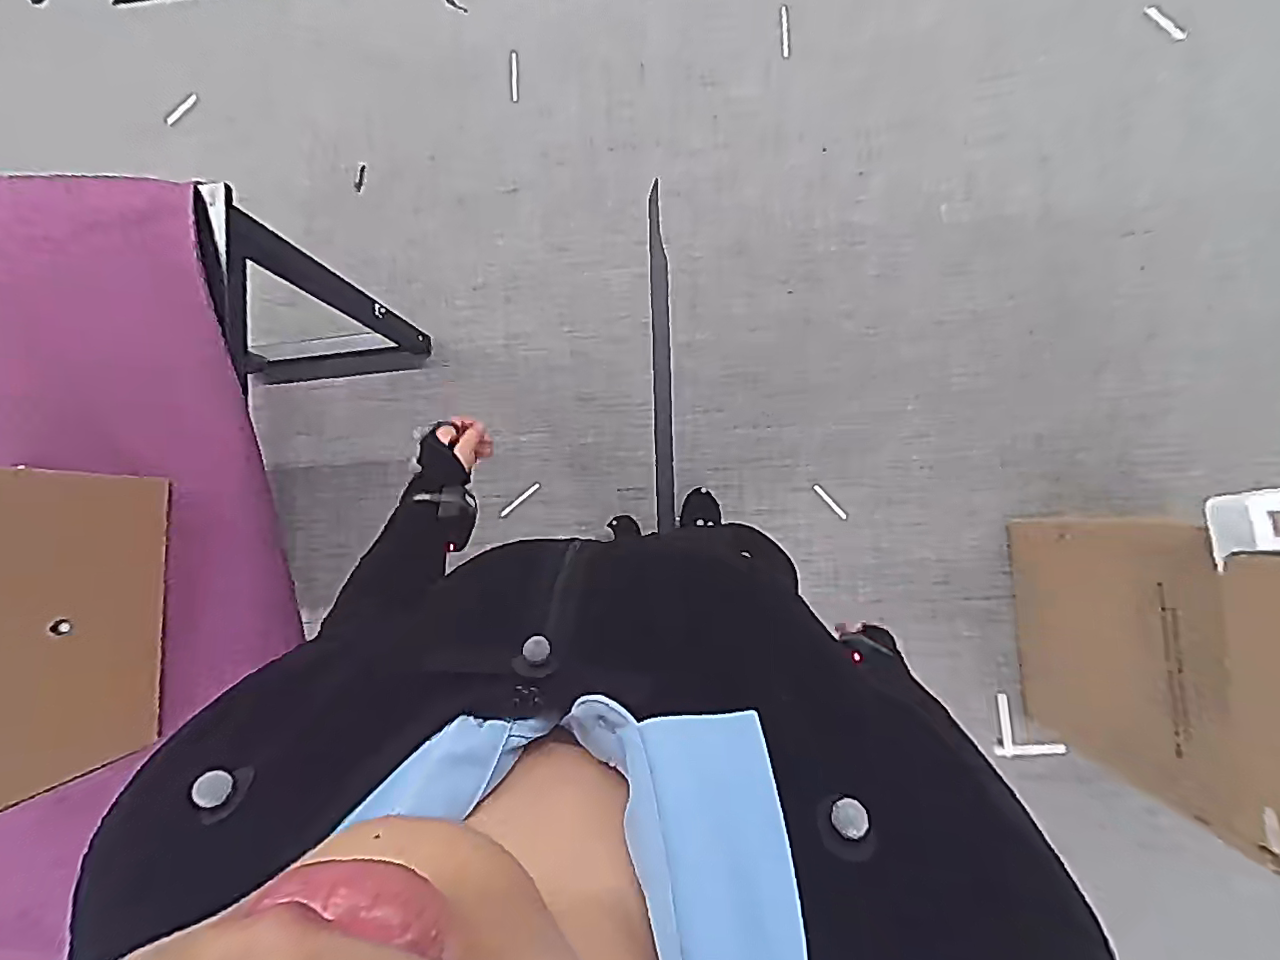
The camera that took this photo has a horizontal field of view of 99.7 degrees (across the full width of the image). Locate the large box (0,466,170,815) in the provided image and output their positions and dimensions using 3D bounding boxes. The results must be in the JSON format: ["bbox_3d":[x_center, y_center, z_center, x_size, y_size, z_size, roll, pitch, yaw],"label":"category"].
[{"bbox_3d":[-0.882,0.193,0.688,0.320,0.320,0.408,-2,87,7],"label":"large box"}]
